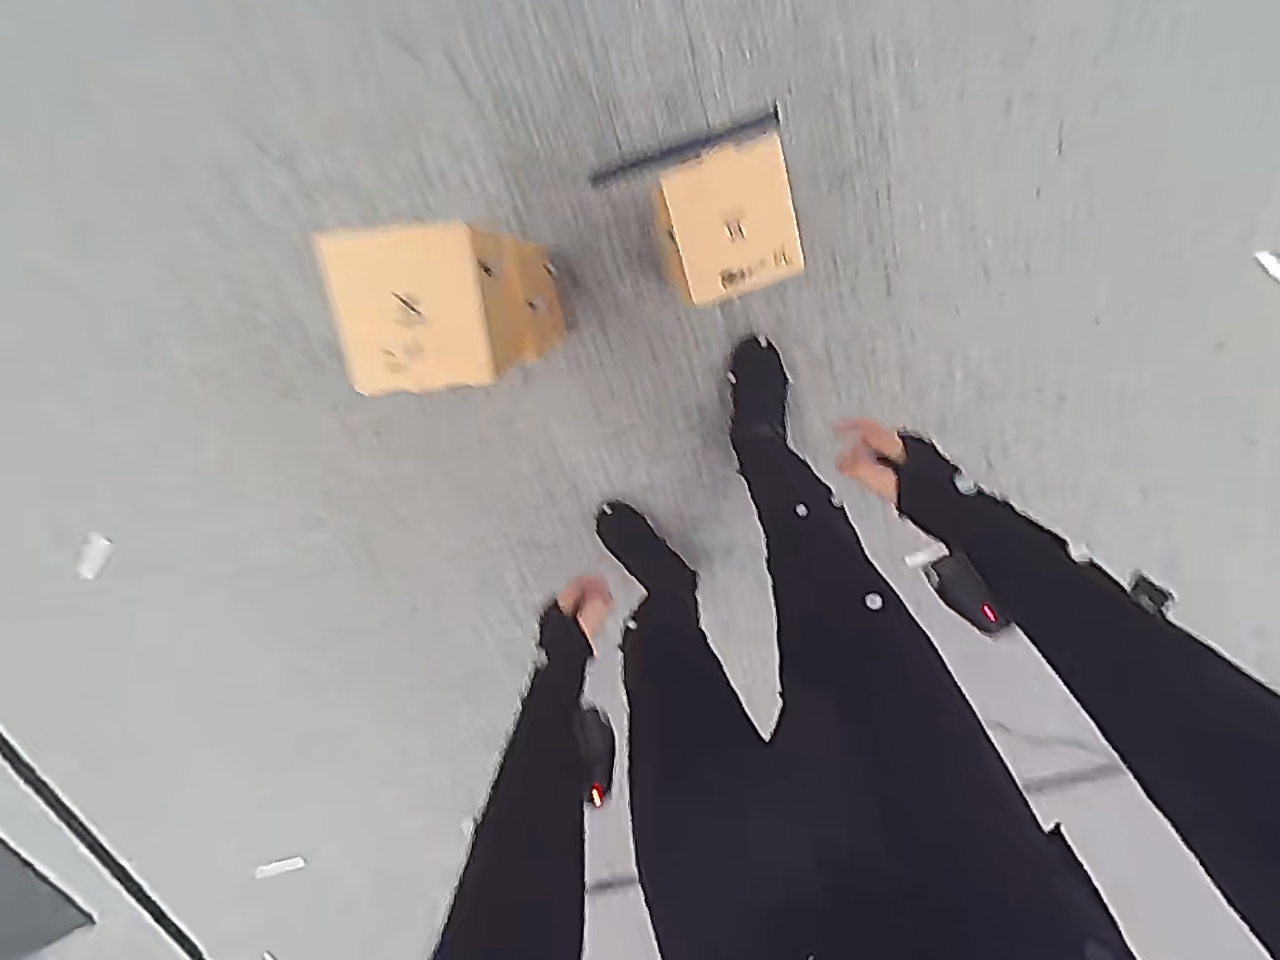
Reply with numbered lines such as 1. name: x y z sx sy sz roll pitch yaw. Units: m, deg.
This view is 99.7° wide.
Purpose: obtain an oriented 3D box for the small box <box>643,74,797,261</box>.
1. small box: 0.105 -0.429 0.775 0.168 0.176 0.179 -17 109 3

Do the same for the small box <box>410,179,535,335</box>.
1. small box: -0.263 -0.321 0.800 0.168 0.176 0.179 -10 111 2

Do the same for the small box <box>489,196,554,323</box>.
1. small box: -0.259 -0.375 0.952 0.168 0.176 0.179 -13 110 3
